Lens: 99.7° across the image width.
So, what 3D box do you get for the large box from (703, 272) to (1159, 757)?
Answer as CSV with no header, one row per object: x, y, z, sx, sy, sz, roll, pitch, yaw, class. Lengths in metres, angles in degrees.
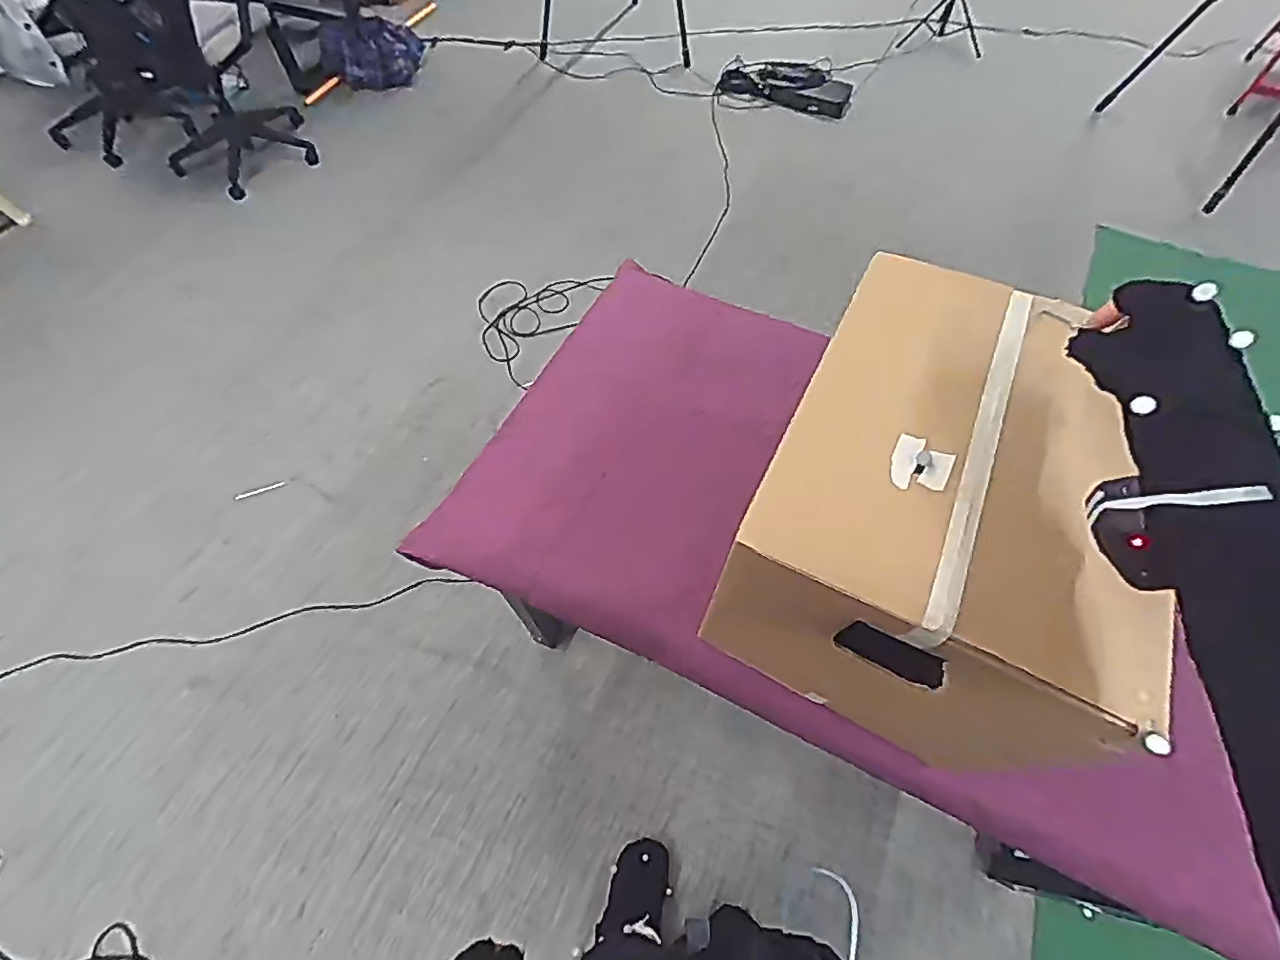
0.305,0.045,0.630,0.320,0.320,0.408,25,63,14,large box
